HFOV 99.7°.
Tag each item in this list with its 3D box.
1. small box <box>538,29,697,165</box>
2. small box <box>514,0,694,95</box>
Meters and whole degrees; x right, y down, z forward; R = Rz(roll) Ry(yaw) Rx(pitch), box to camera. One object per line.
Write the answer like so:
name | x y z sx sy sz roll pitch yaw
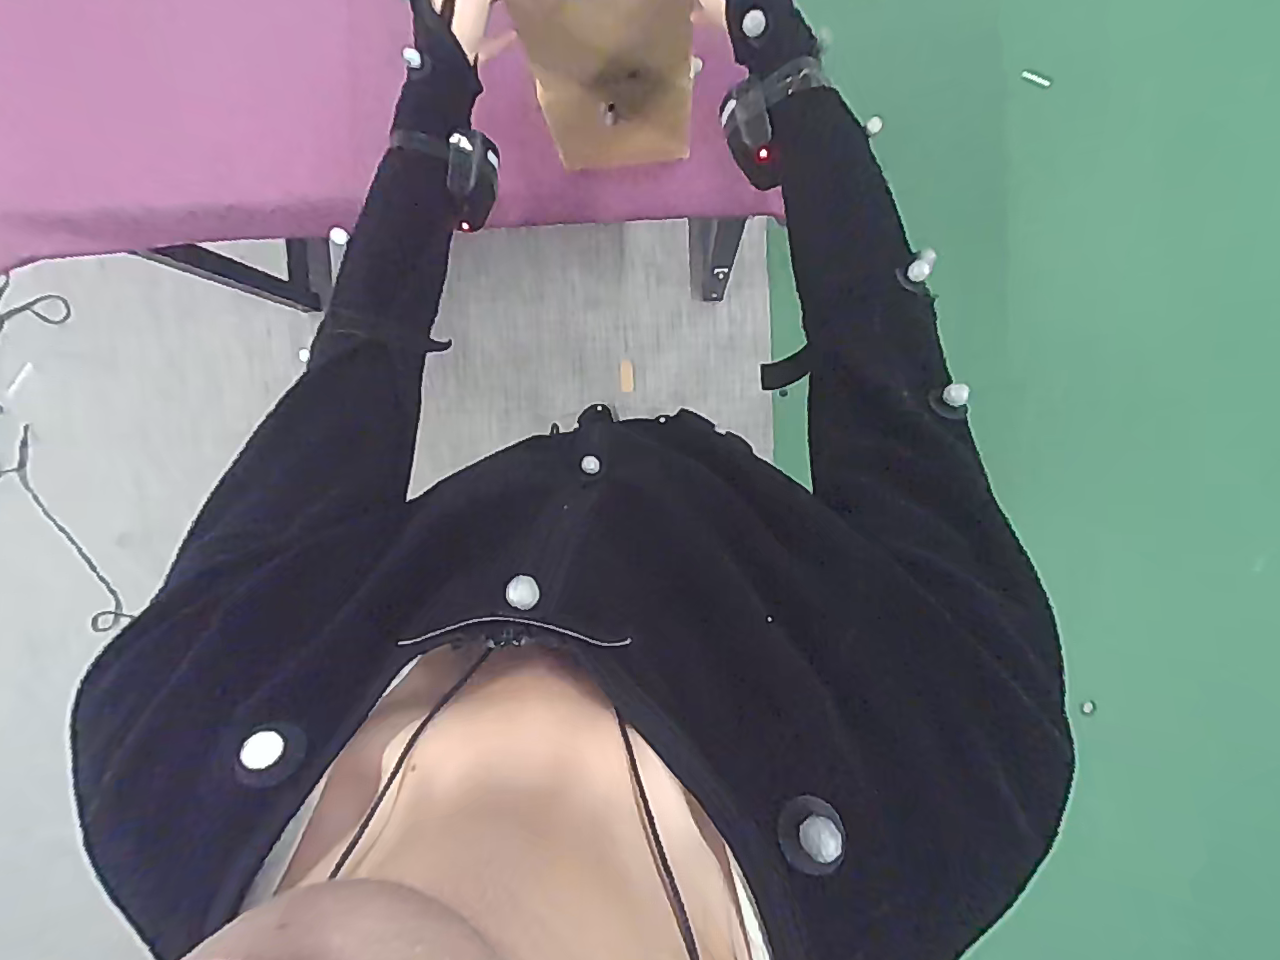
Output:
small box | -0.023 -0.519 0.668 0.179 0.176 0.168 -3 95 6
small box | -0.035 -0.508 0.506 0.168 0.176 0.179 -3 95 7
